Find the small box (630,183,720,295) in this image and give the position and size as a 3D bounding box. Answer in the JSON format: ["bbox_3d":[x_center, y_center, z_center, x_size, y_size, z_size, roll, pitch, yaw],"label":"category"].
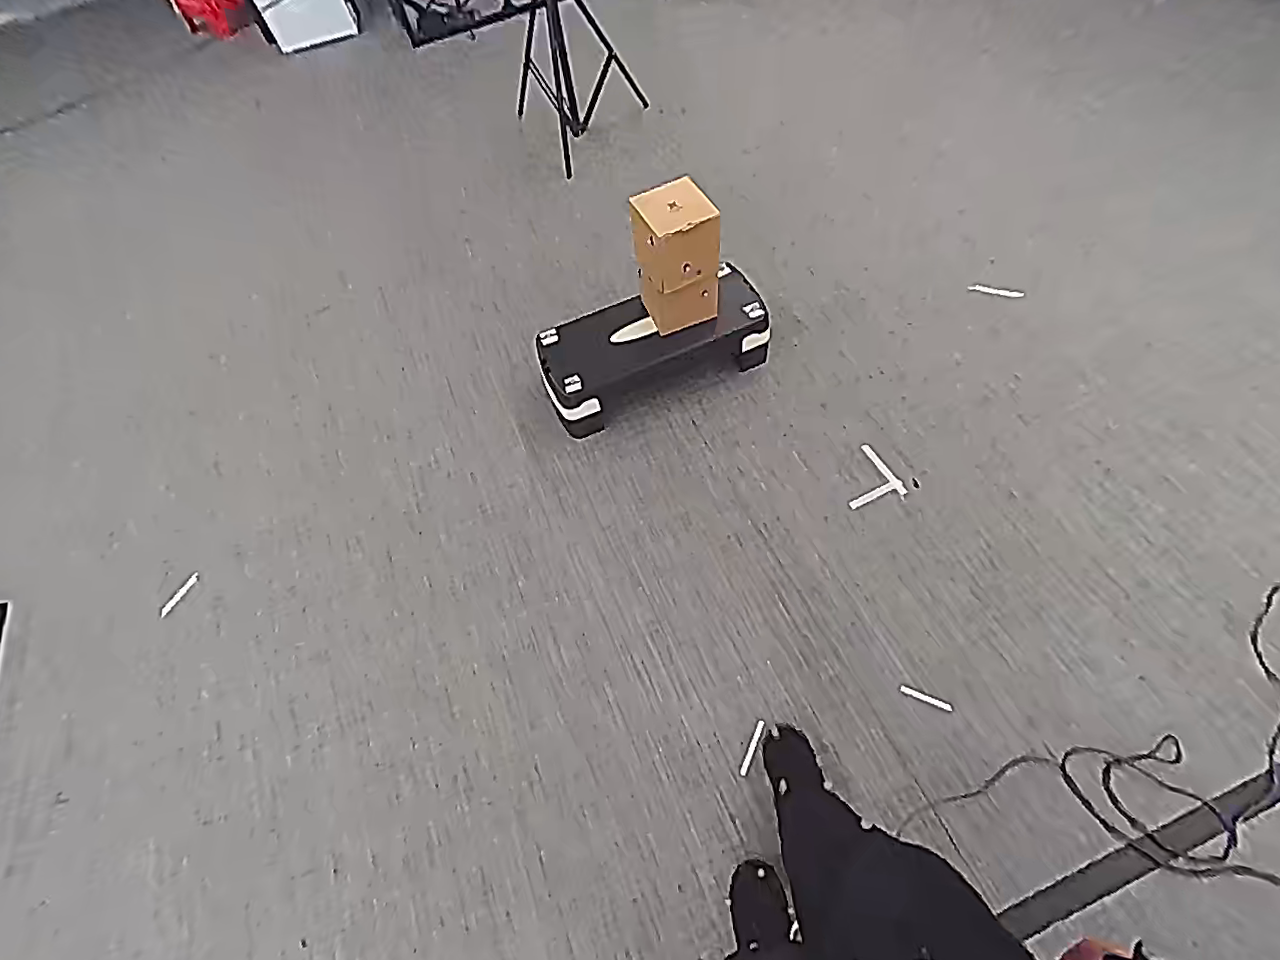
[{"bbox_3d":[0.088,-0.607,1.373,0.168,0.176,0.179,-25,62,-8],"label":"small box"}]

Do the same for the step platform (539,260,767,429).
[{"bbox_3d":[0.040,-0.421,1.661,0.684,0.204,0.286,-24,60,-6],"label":"step platform"}]
